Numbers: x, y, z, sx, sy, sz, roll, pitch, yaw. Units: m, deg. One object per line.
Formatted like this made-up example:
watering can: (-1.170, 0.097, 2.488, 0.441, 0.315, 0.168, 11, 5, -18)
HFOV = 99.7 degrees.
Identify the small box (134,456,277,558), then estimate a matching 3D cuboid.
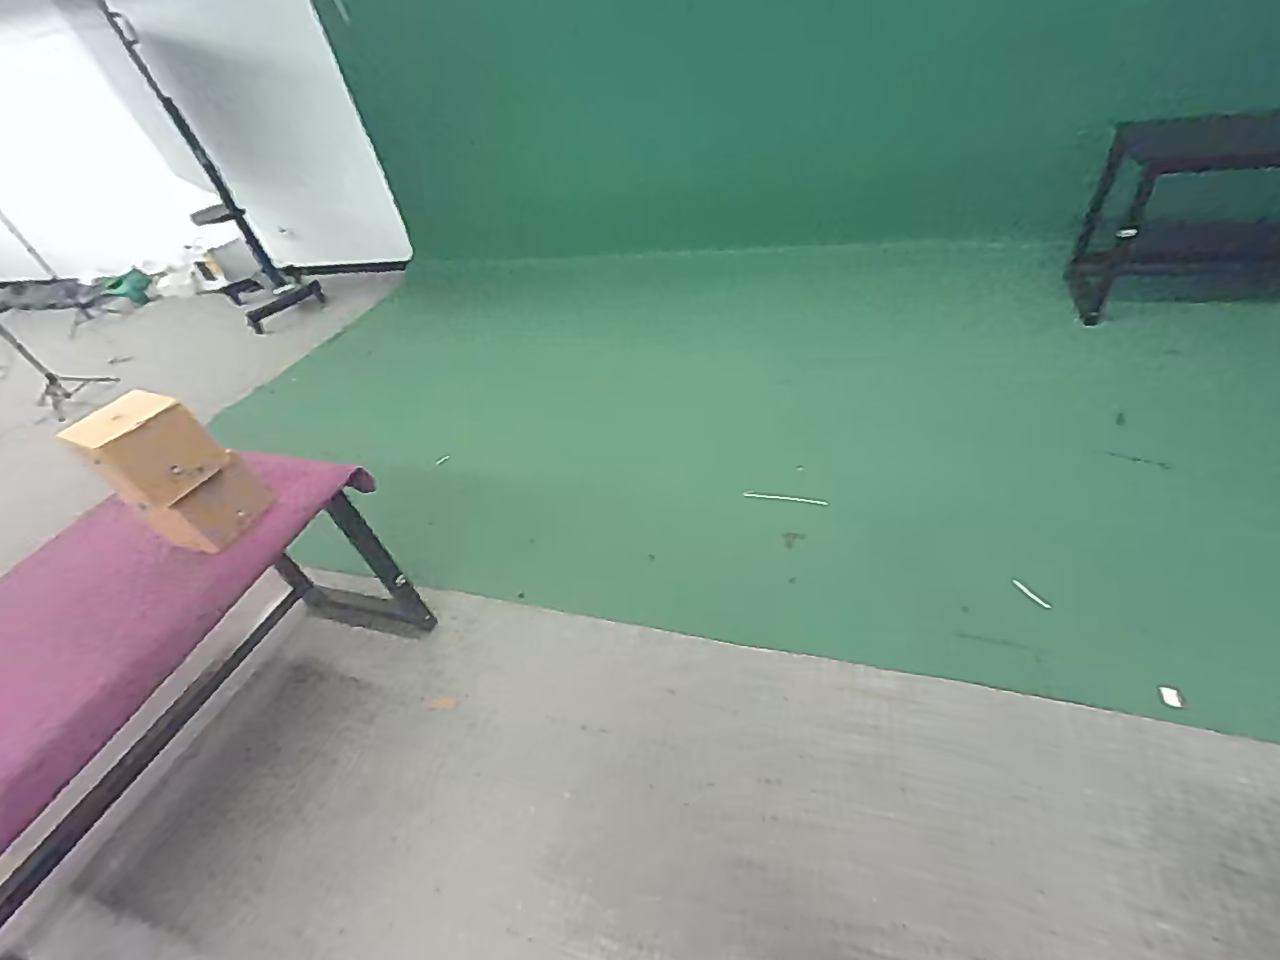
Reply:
small box: (-1.007, 0.057, 1.276, 0.168, 0.176, 0.179, 4, 43, 20)

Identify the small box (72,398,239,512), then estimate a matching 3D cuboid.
small box: (-1.021, -0.053, 1.154, 0.179, 0.176, 0.168, 11, 47, 25)
